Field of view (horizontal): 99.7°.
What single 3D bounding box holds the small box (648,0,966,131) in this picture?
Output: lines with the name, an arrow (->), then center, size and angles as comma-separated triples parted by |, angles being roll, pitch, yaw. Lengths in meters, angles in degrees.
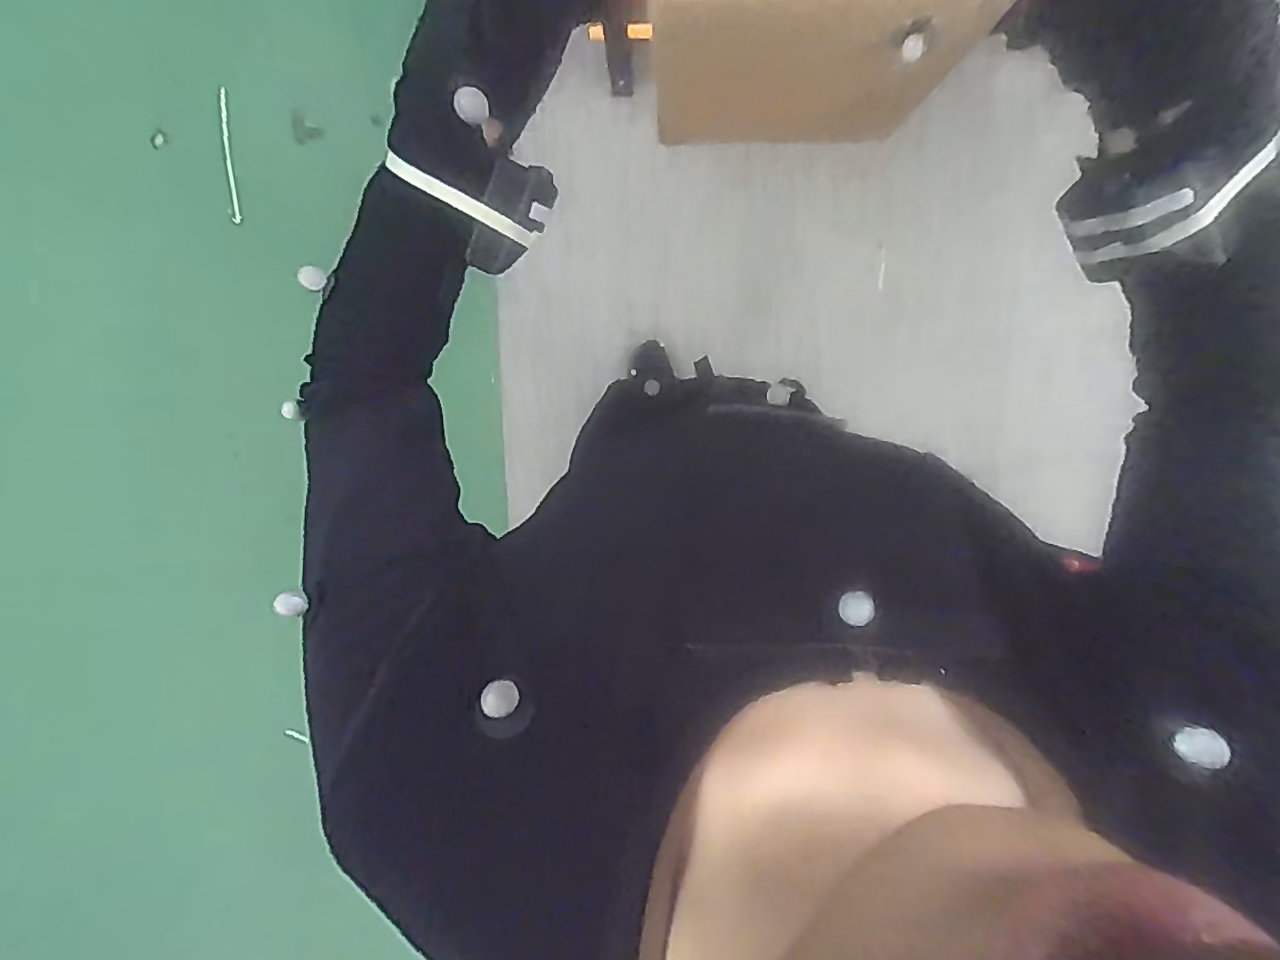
small box -> 0.092, -0.330, 0.317 | 0.179, 0.176, 0.168 | 0, 101, 2
